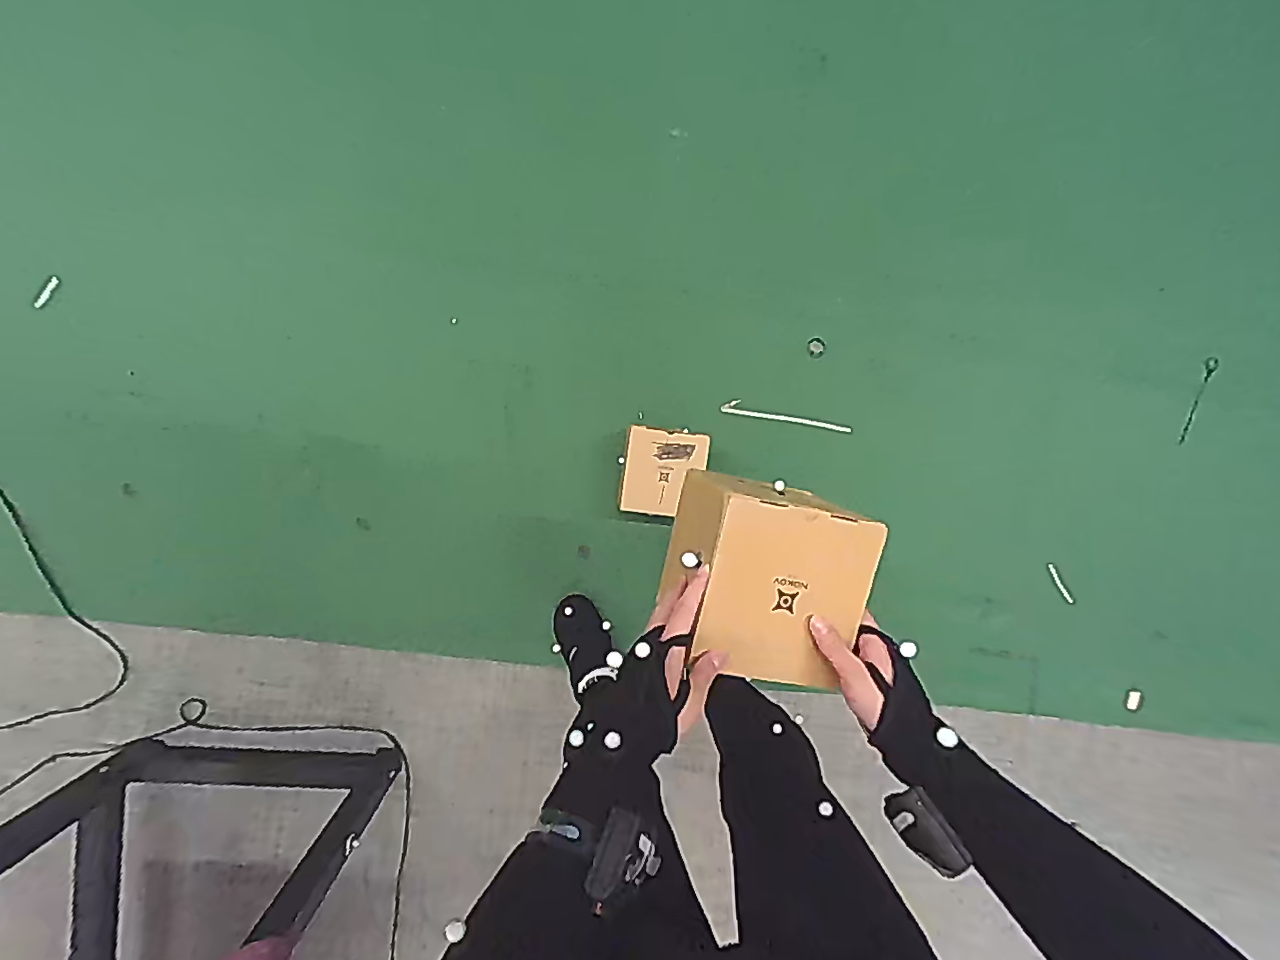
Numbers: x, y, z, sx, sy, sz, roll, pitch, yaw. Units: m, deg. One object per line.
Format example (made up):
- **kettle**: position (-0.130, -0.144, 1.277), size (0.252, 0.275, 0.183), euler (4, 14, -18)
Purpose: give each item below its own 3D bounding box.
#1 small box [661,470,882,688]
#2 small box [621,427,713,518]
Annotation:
- **small box**: position (0.127, 0.097, 0.599), size (0.168, 0.176, 0.179), euler (12, 97, -10)
- **small box**: position (0.050, -0.016, 1.172), size (0.168, 0.176, 0.179), euler (7, 94, -4)
